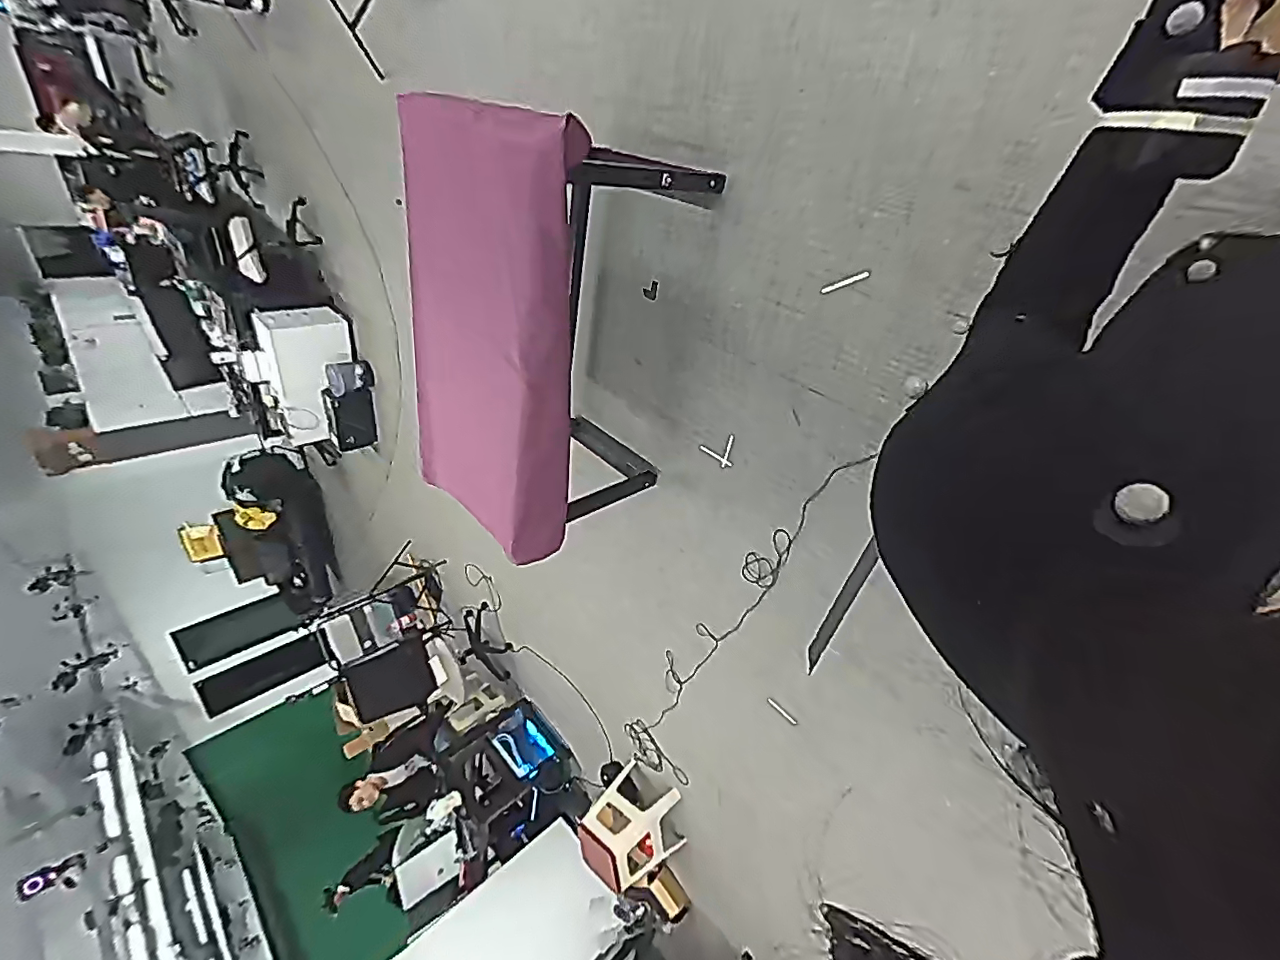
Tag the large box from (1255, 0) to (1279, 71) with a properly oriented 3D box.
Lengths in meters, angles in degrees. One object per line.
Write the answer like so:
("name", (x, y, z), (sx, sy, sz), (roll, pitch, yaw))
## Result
("large box", (0.621, -0.400, 0.231), (0.408, 0.320, 0.320), (26, 132, 37))
